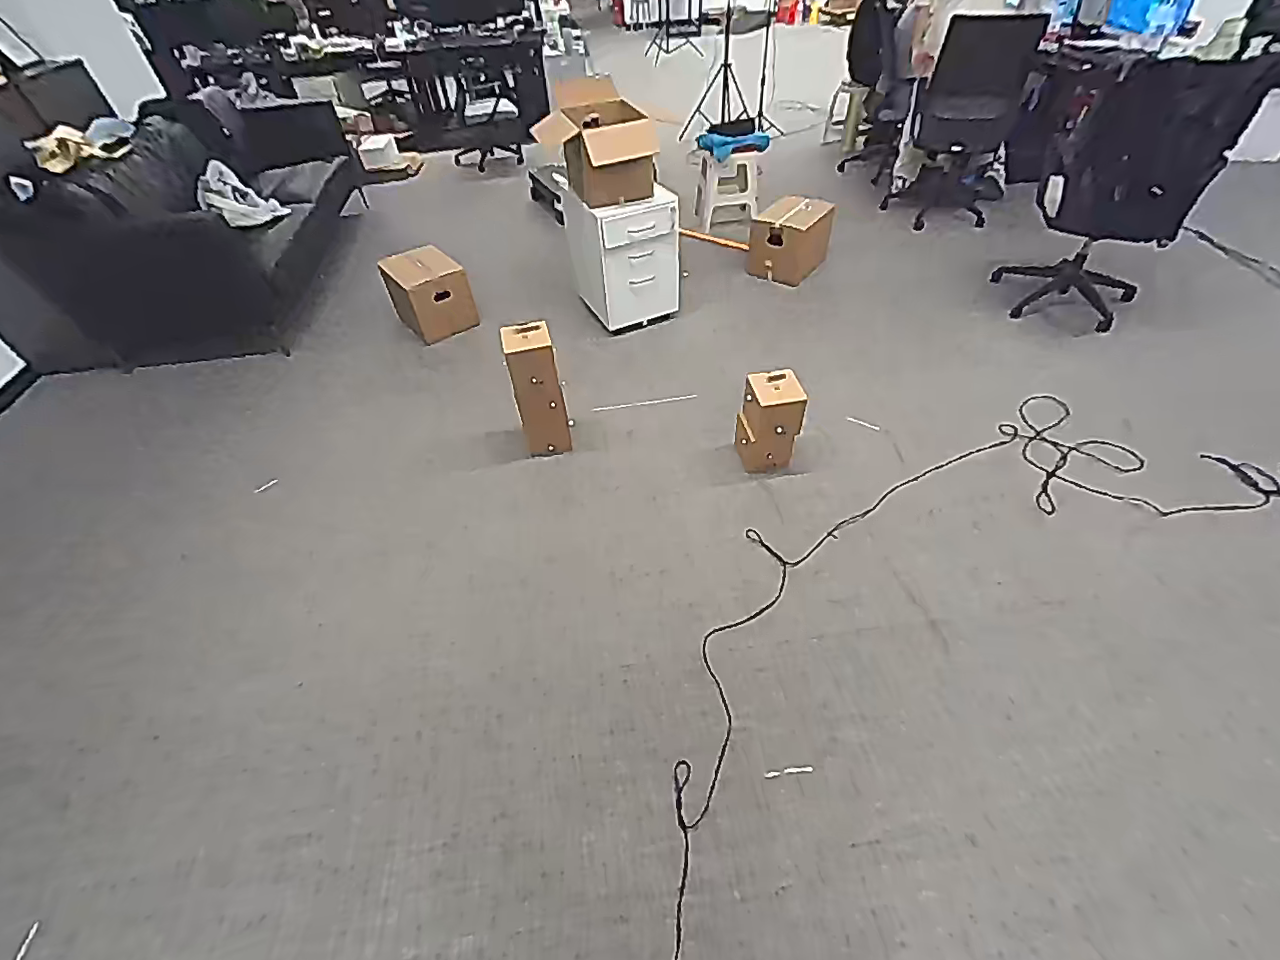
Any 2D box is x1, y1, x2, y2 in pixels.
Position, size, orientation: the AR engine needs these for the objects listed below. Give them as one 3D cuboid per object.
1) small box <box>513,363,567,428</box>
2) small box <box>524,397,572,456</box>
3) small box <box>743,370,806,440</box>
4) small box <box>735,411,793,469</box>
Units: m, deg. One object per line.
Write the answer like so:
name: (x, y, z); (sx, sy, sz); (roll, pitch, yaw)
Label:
small box: (-0.379, -0.321, 2.072); (0.179, 0.176, 0.168); (-12, 45, -5)
small box: (-0.371, -0.217, 2.197); (0.179, 0.176, 0.168); (-9, 46, -4)
small box: (0.475, -0.266, 1.935); (0.168, 0.176, 0.179); (-9, 48, -3)
small box: (0.467, -0.156, 2.057); (0.168, 0.176, 0.179); (-9, 47, -5)
